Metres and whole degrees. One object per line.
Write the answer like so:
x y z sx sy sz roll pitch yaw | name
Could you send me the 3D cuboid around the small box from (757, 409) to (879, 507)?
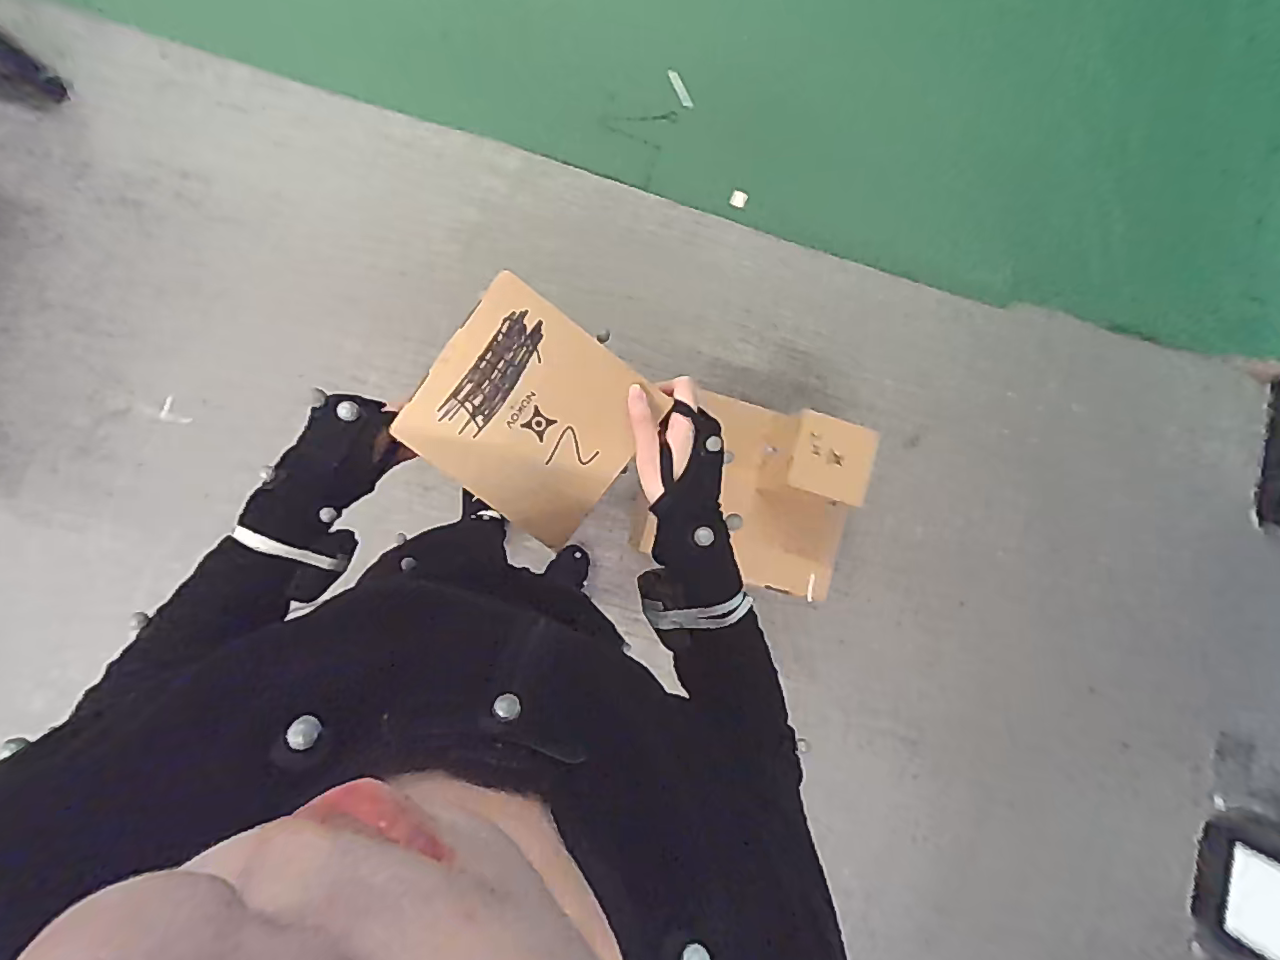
0.383 -0.042 1.189 0.179 0.176 0.168 17 84 -8 | small box
